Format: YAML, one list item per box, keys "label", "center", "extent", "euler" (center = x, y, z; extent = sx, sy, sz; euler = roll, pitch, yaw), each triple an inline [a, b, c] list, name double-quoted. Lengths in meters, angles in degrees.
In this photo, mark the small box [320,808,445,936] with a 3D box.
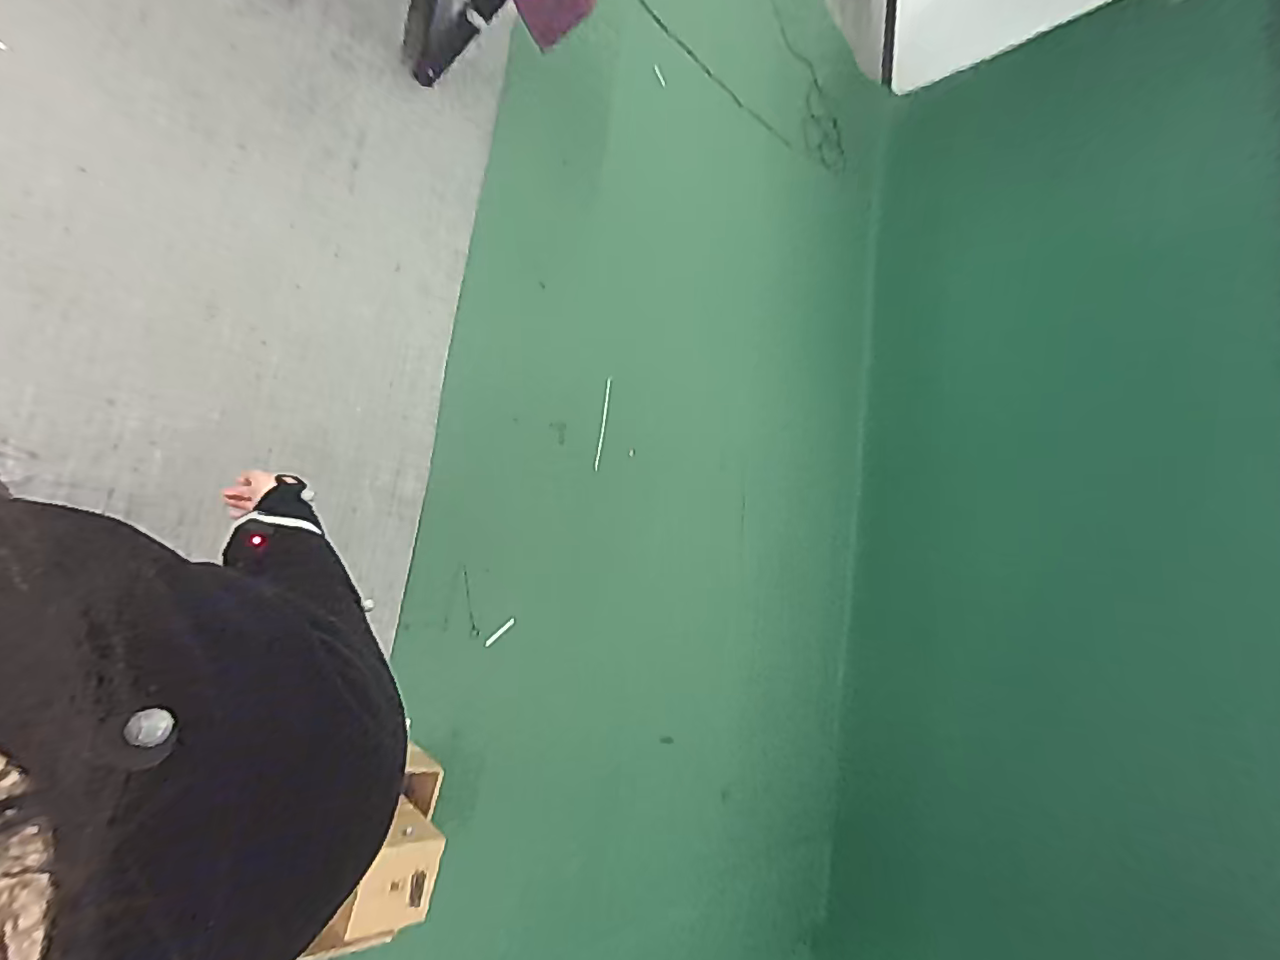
- label: "small box"
  center: [-0.575, 0.857, 1.207]
  extent: [0.179, 0.176, 0.168]
  euler: [25, 72, -43]
